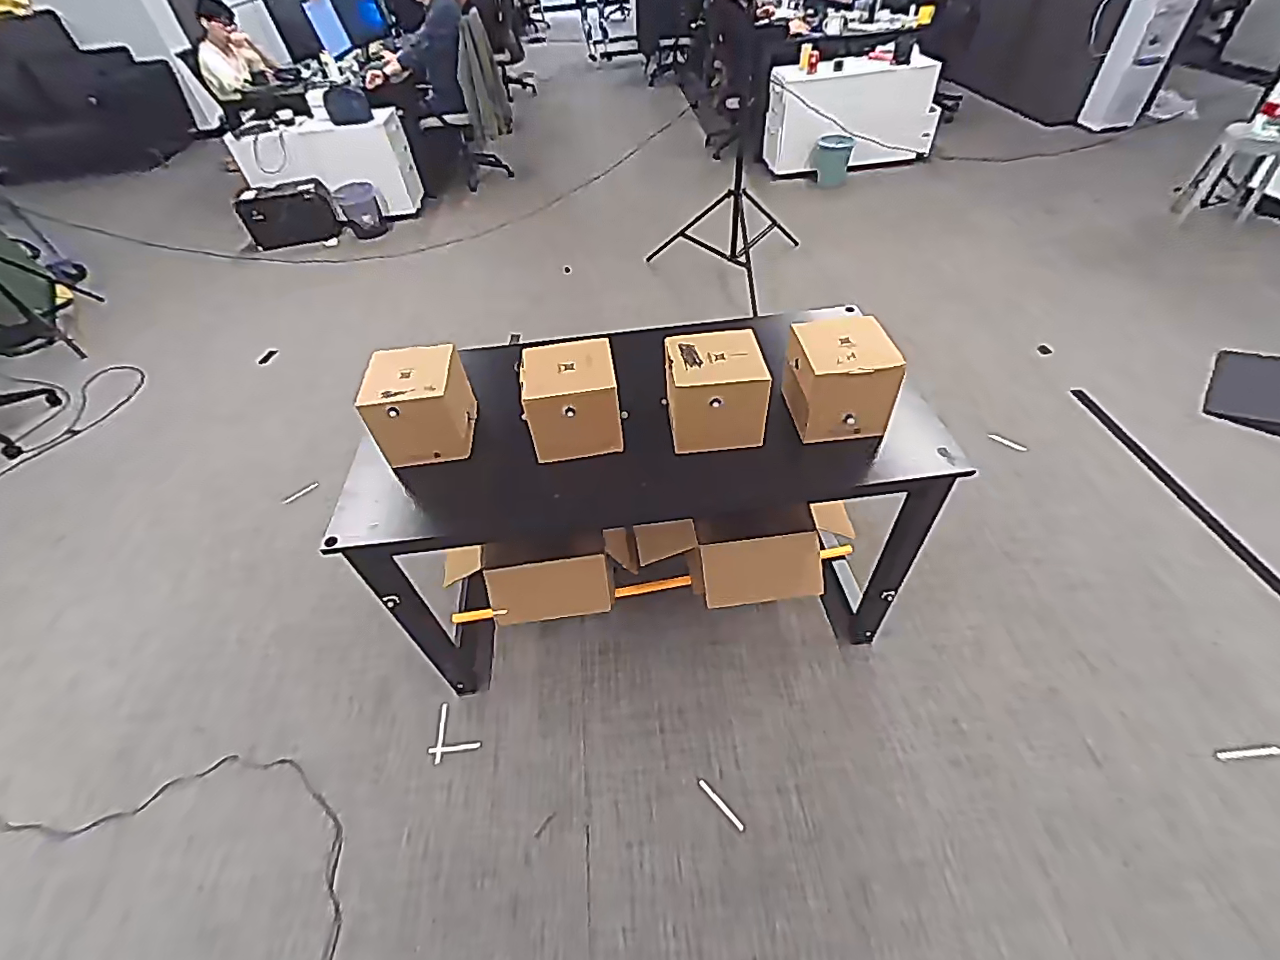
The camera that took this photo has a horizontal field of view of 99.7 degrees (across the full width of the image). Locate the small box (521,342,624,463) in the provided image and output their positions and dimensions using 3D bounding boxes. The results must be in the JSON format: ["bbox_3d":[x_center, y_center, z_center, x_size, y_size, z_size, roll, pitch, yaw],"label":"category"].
[{"bbox_3d":[-0.134,-0.151,1.086,0.179,0.176,0.168,-8,48,-3],"label":"small box"}]

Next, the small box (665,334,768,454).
[{"bbox_3d":[0.145,-0.166,1.070,0.179,0.176,0.168,-5,46,1],"label":"small box"}]

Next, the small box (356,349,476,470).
[{"bbox_3d":[-0.444,-0.144,1.106,0.168,0.176,0.179,-7,47,-2],"label":"small box"}]

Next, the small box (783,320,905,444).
[{"bbox_3d":[0.389,-0.193,1.069,0.168,0.176,0.179,-6,46,1],"label":"small box"}]
